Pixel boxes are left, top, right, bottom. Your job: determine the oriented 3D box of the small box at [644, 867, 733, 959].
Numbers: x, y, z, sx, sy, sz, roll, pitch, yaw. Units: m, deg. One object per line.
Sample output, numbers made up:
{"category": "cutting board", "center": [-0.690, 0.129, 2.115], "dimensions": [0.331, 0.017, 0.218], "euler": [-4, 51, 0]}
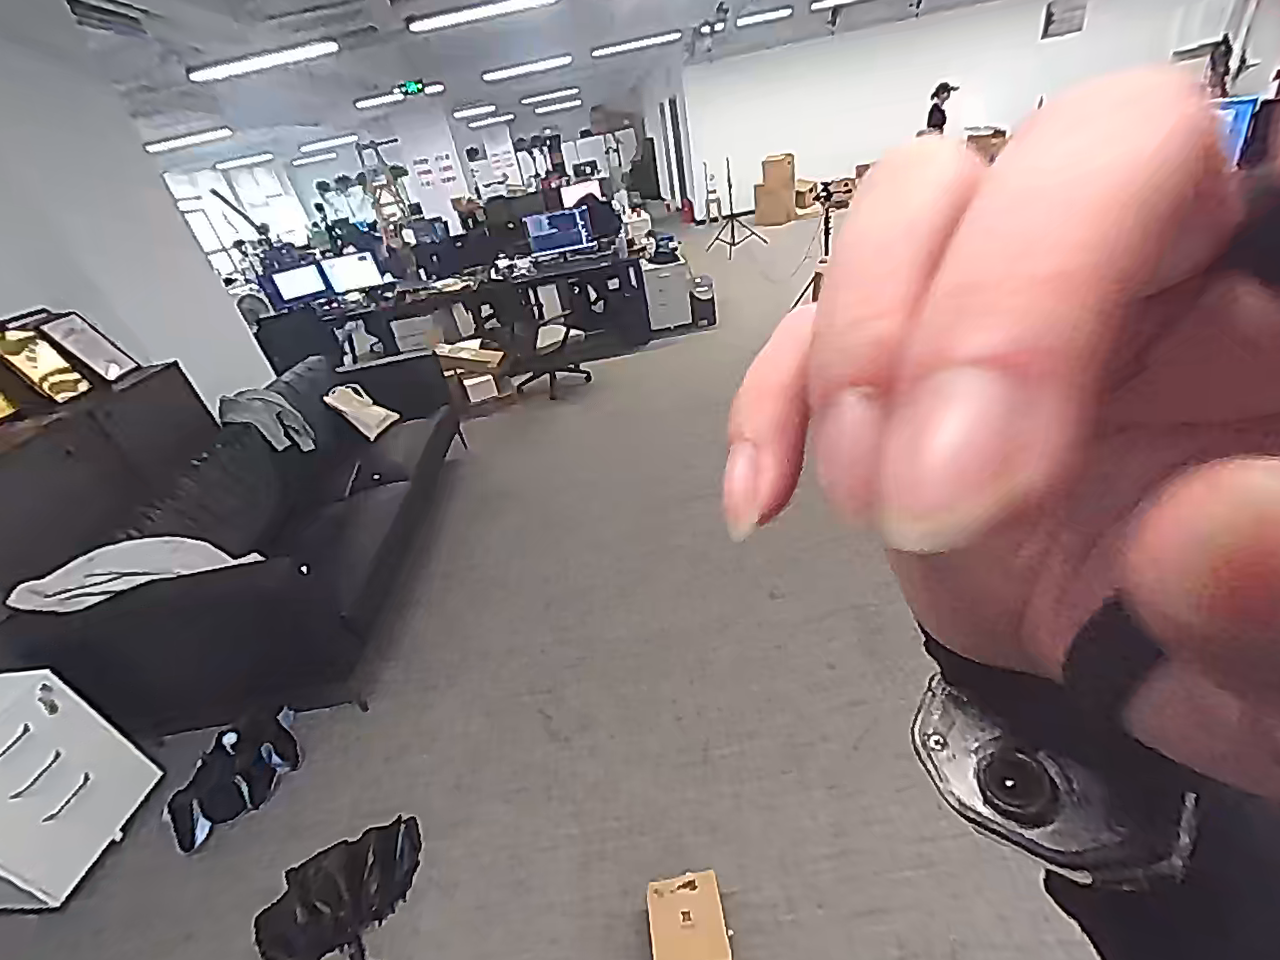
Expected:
{"category": "small box", "center": [0.112, 1.026, 1.230], "dimensions": [0.168, 0.176, 0.179], "euler": [-13, 34, 0]}
